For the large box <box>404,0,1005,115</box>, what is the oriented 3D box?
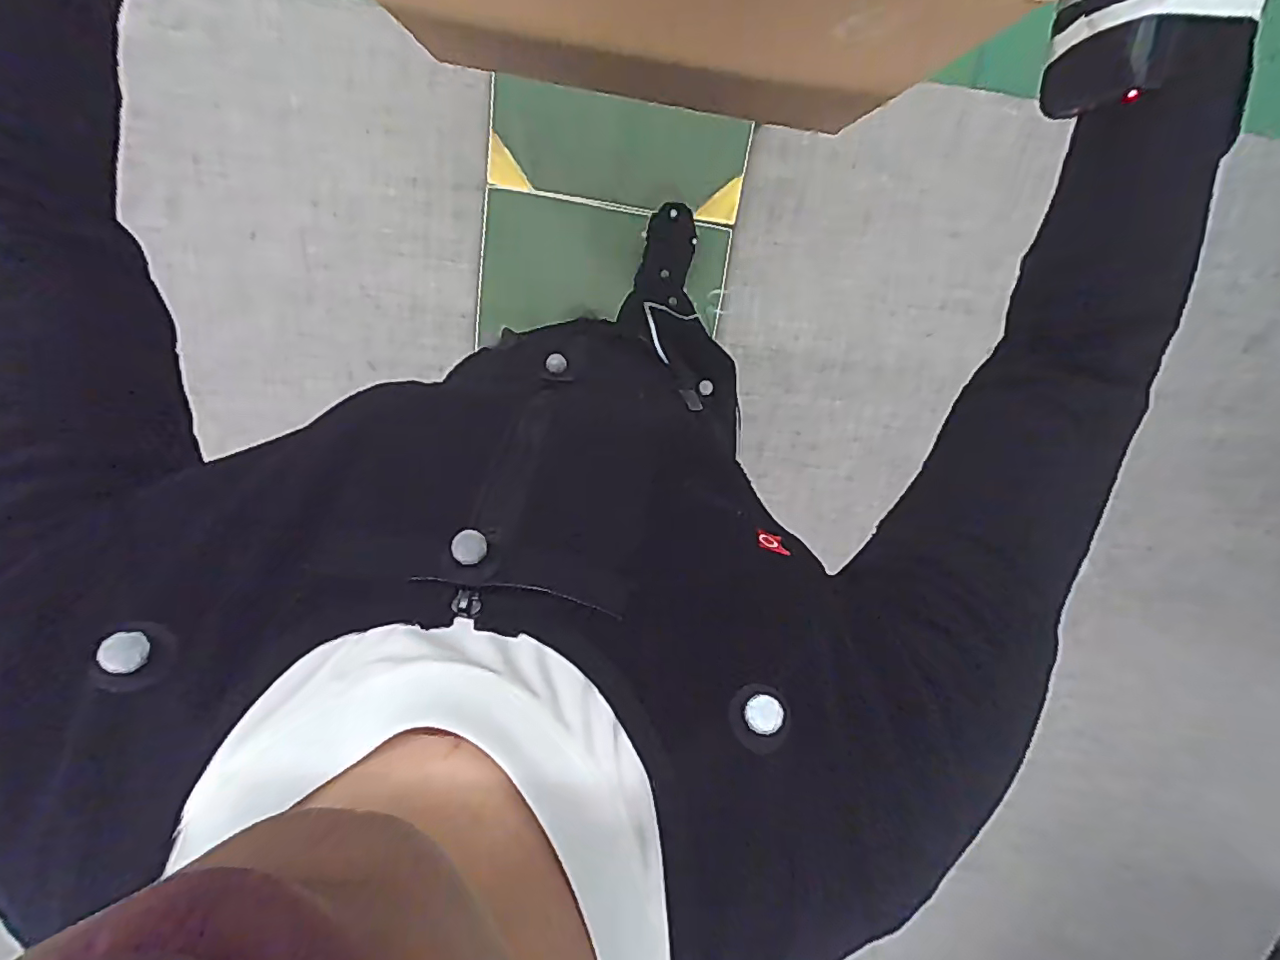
[{"bbox_3d":[0.031,-0.471,0.340,0.408,0.320,0.320,7,113,-4],"label":"large box"}]
